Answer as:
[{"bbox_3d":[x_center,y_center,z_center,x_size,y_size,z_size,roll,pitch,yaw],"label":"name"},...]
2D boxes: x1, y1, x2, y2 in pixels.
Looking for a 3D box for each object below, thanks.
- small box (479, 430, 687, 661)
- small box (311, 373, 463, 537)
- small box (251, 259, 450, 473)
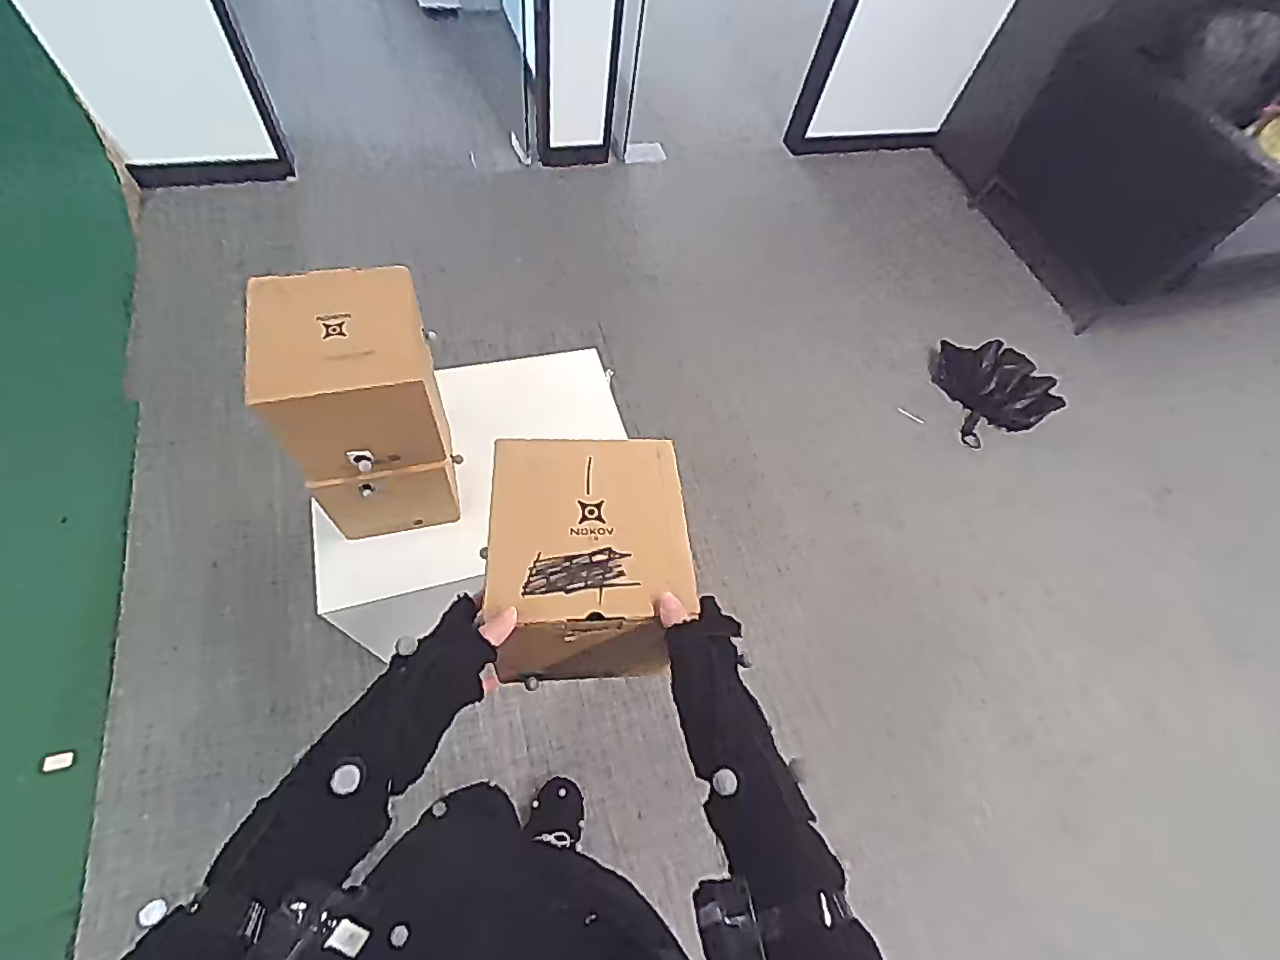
[{"bbox_3d":[-0.058,0.071,0.532,0.168,0.176,0.179,0,54,-9],"label":"small box"},{"bbox_3d":[-0.362,-0.038,0.795,0.168,0.176,0.179,-9,62,-15],"label":"small box"},{"bbox_3d":[-0.333,-0.132,0.645,0.168,0.176,0.179,-12,65,-15],"label":"small box"}]
